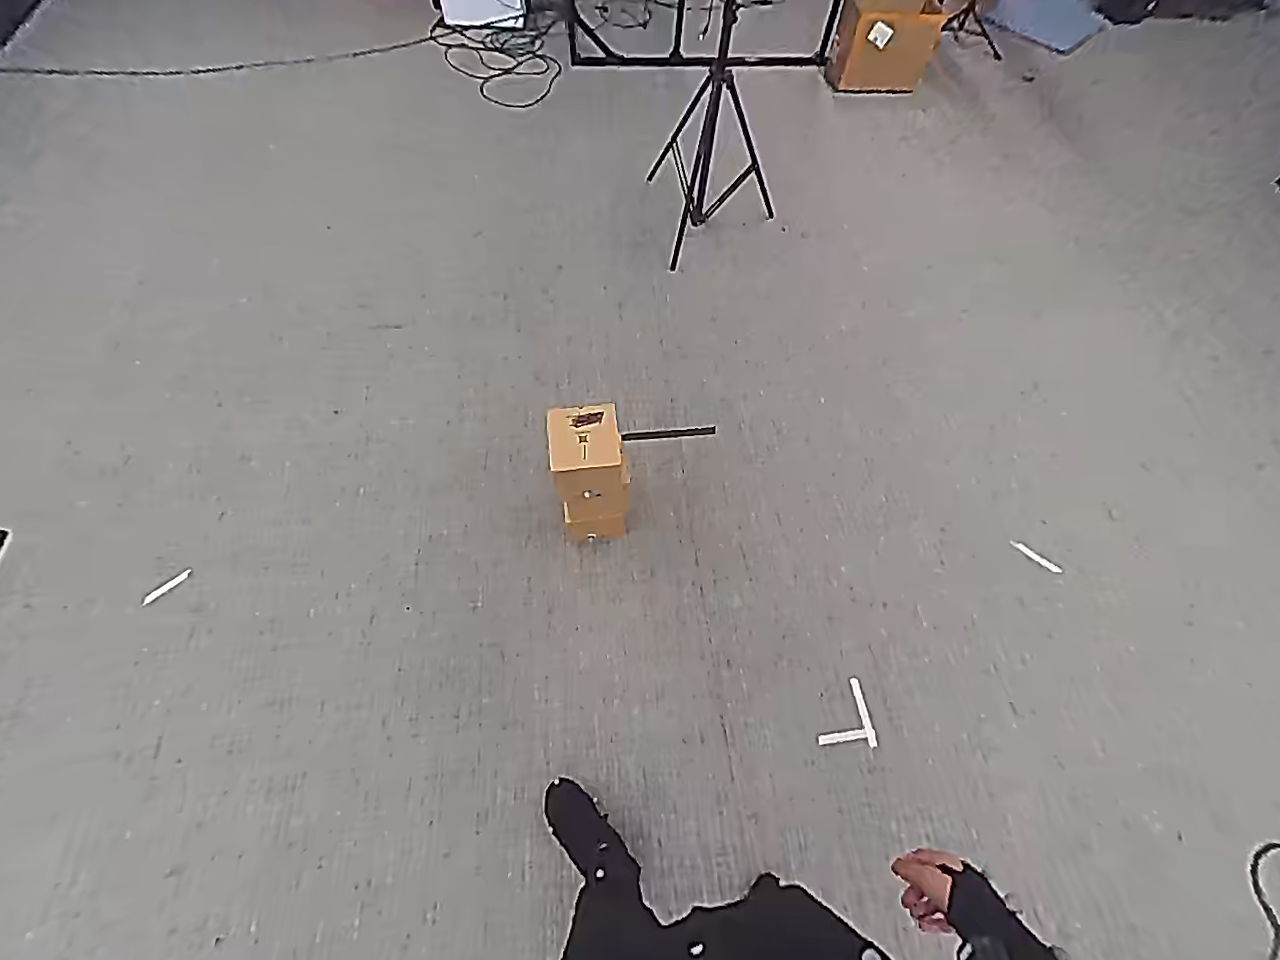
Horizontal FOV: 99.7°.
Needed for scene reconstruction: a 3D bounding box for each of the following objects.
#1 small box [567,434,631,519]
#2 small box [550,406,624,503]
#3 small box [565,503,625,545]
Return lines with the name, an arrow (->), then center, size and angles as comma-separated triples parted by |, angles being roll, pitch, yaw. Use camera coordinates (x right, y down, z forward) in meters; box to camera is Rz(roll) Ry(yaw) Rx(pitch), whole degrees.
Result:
small box -> -0.122, -0.005, 1.492 | 0.179, 0.176, 0.168 | -9, 62, -6
small box -> -0.129, -0.060, 1.335 | 0.168, 0.176, 0.179 | -6, 63, -4
small box -> -0.140, 0.077, 1.634 | 0.168, 0.176, 0.179 | -8, 63, -6
